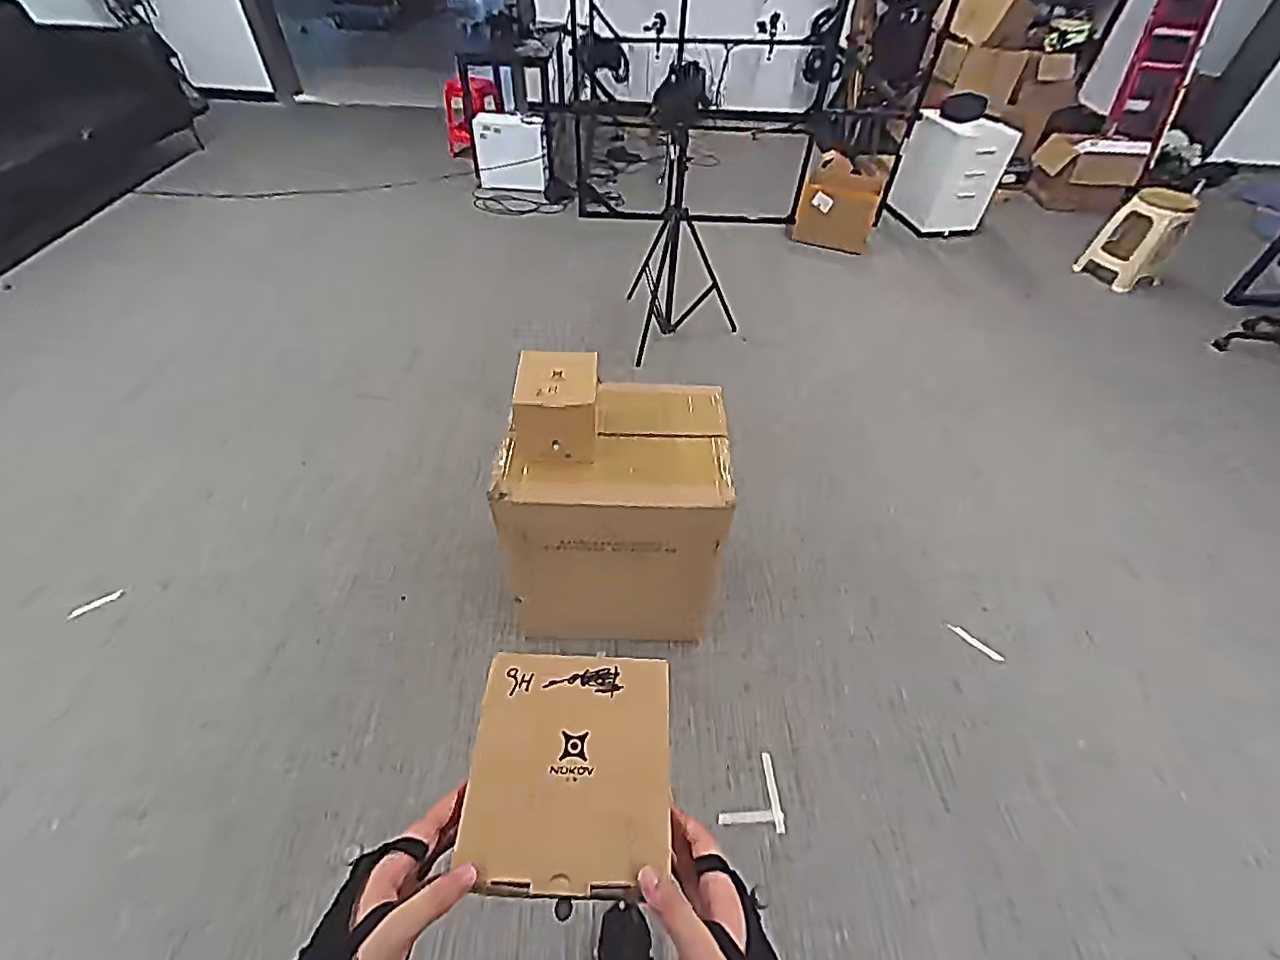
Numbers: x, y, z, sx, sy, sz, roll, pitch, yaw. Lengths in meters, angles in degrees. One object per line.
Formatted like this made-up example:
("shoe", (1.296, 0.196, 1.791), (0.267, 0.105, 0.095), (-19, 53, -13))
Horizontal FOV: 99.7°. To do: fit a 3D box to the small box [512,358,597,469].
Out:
("small box", (-0.180, -0.146, 1.186), (0.168, 0.176, 0.179), (0, 49, -3))
